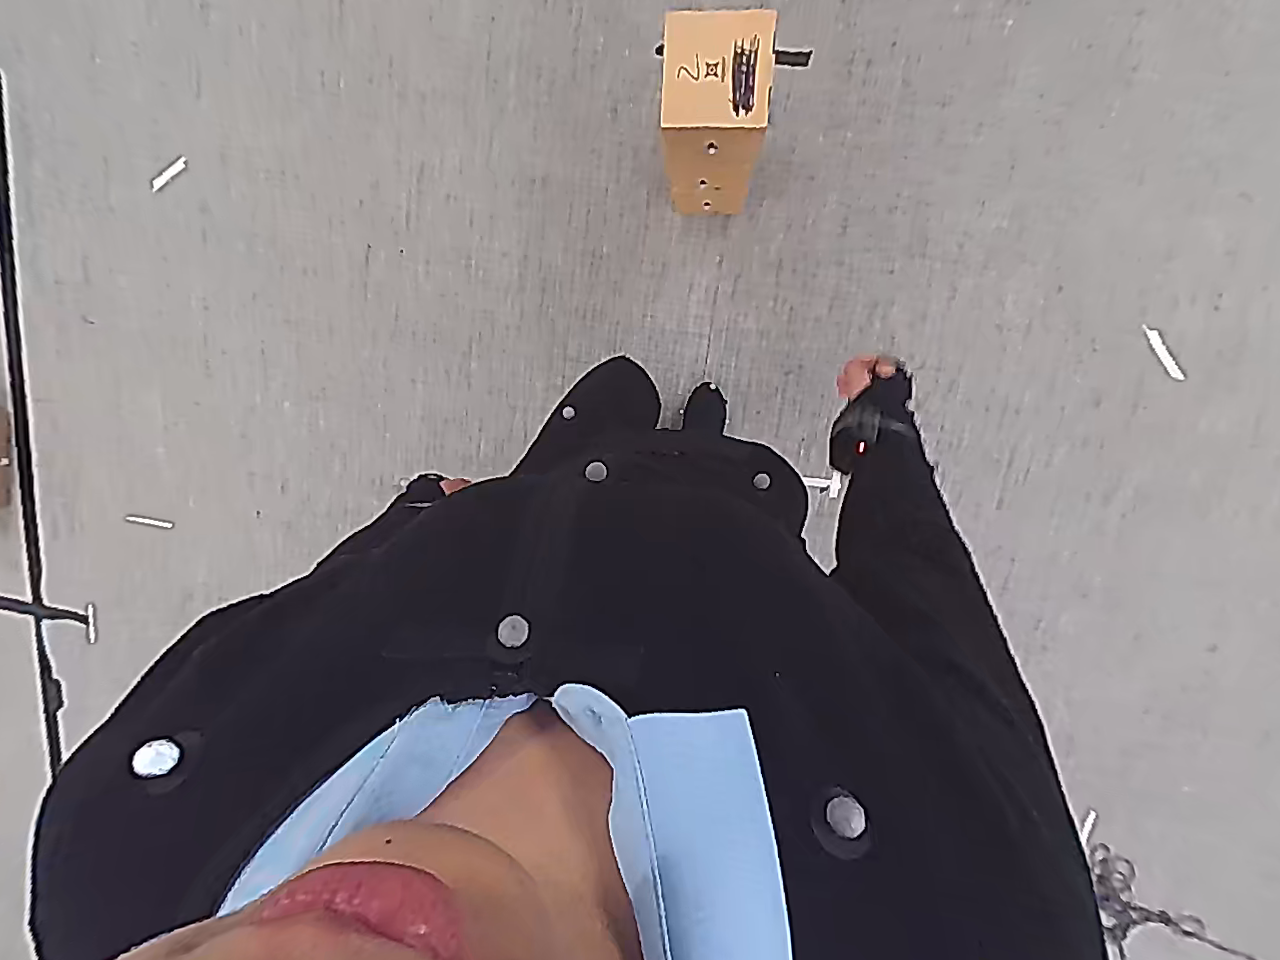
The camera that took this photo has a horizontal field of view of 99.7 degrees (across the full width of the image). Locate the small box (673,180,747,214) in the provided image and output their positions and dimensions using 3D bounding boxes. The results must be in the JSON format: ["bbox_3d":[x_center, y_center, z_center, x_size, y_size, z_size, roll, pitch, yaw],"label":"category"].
[{"bbox_3d":[0.170,-0.730,1.246,0.168,0.176,0.179,5,101,5],"label":"small box"}]

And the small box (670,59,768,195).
[{"bbox_3d":[0.153,-0.700,1.087,0.168,0.176,0.179,7,102,5],"label":"small box"}]
